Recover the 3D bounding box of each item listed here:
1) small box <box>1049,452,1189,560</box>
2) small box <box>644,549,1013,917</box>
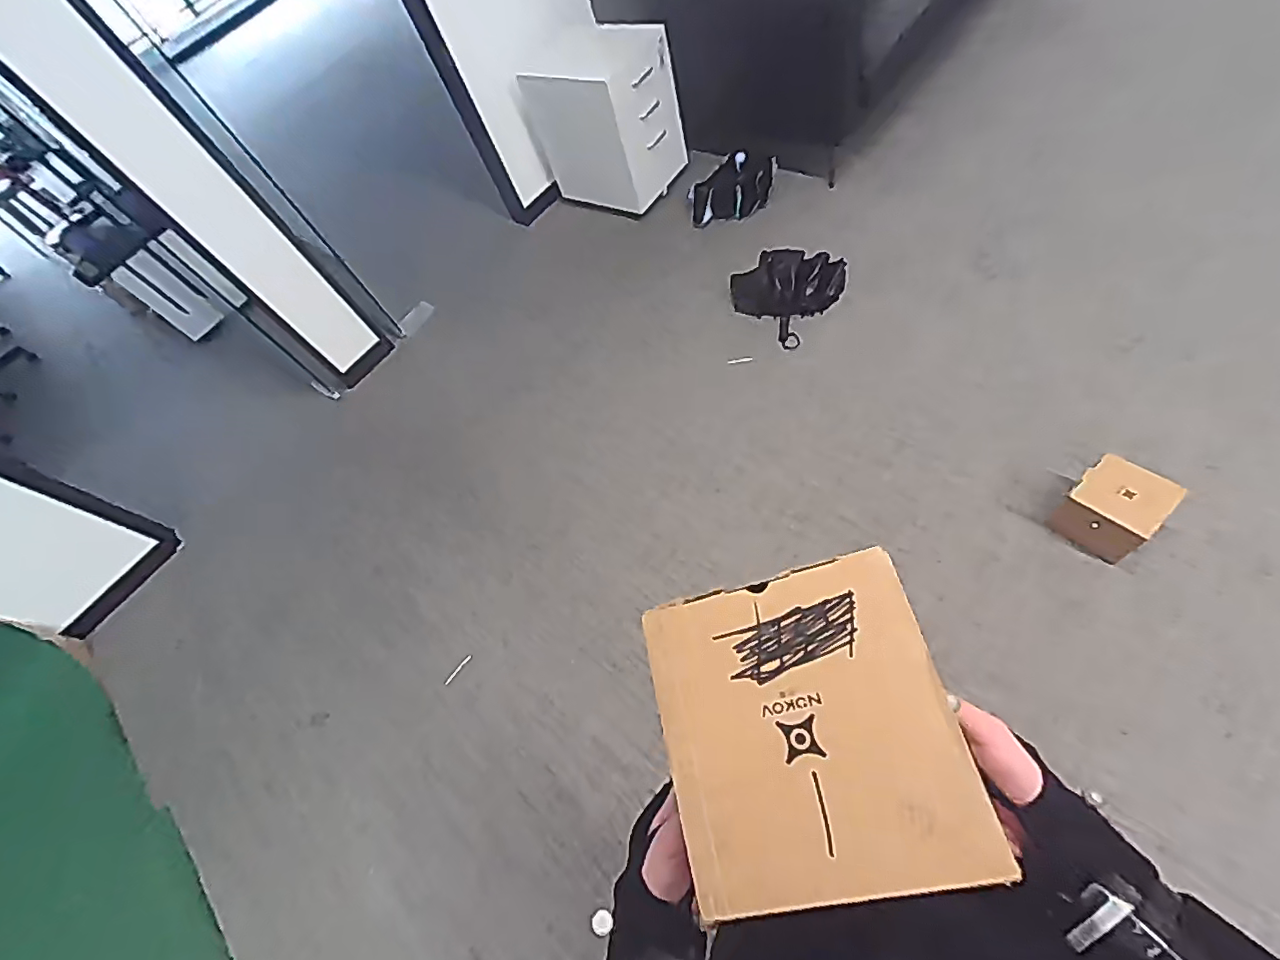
[{"bbox_3d":[1.168,0.069,1.338,0.168,0.176,0.179,-43,59,-8],"label":"small box"},{"bbox_3d":[0.118,0.170,0.386,0.168,0.176,0.179,-19,64,14],"label":"small box"}]
